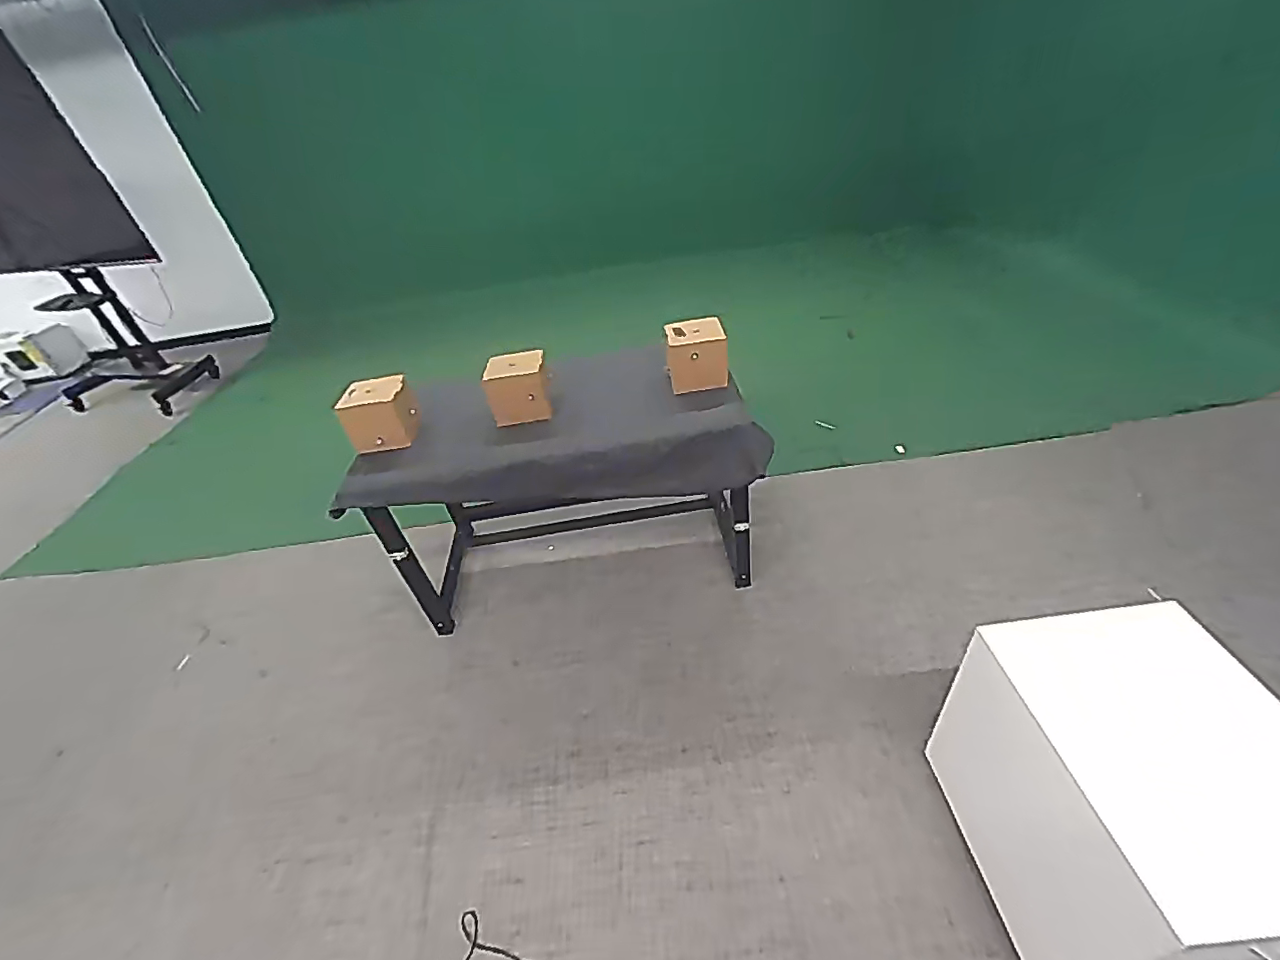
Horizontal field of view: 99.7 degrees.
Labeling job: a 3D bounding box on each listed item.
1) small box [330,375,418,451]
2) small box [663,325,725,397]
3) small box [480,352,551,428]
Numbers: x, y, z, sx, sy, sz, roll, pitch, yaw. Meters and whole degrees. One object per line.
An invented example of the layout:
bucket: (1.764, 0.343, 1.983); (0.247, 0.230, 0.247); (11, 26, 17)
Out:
small box: (-0.816, -0.207, 1.685); (0.179, 0.176, 0.168); (-7, 37, -1)
small box: (0.174, -0.378, 1.727); (0.179, 0.176, 0.168); (-6, 38, 1)
small box: (-0.384, -0.284, 1.712); (0.179, 0.176, 0.168); (-9, 36, 1)
